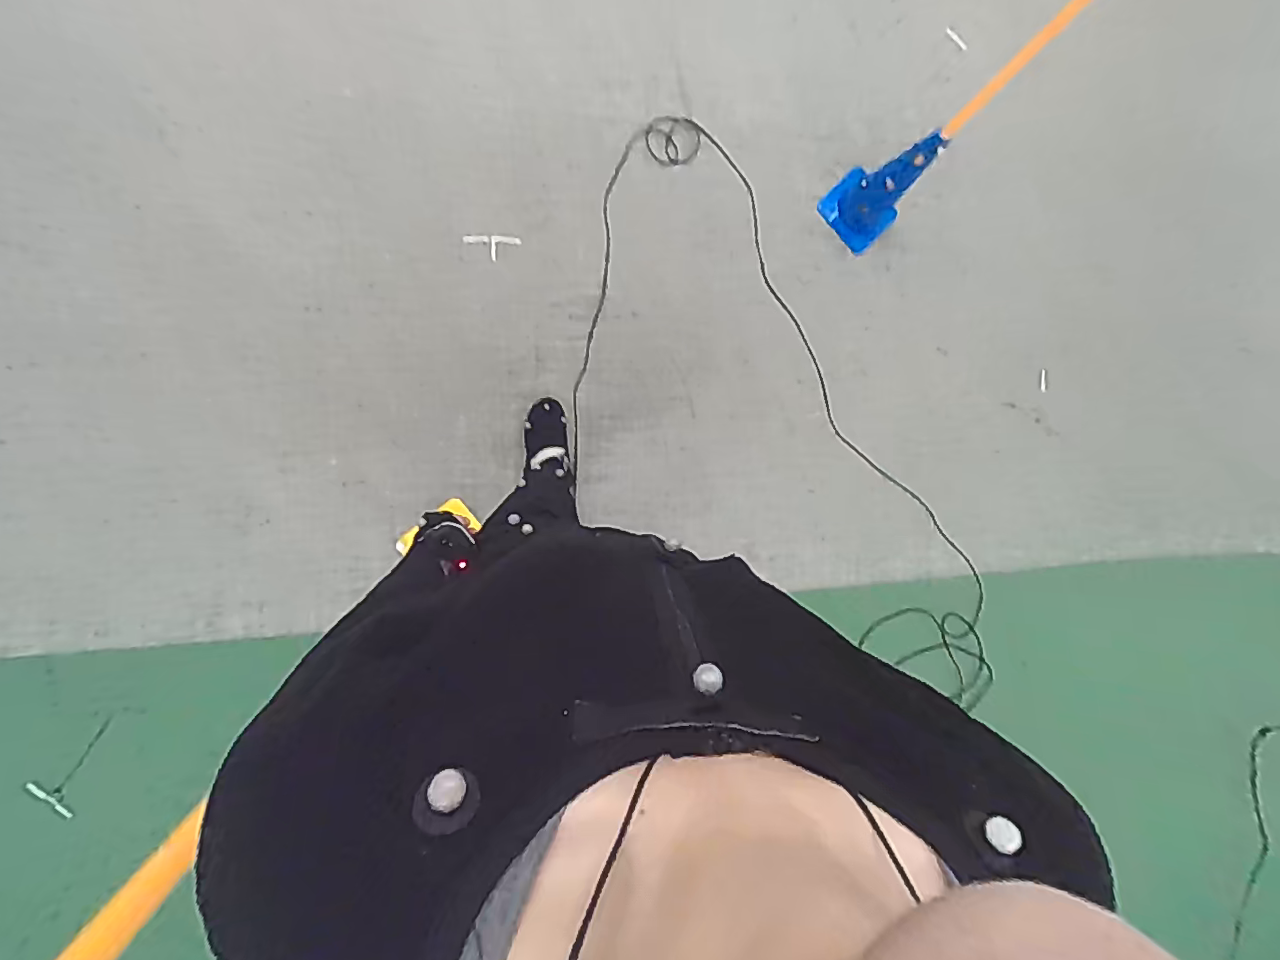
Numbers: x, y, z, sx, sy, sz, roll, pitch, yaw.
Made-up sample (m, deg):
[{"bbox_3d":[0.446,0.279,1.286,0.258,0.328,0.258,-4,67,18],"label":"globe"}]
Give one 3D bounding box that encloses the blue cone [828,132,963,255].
[{"bbox_3d":[0.692,-0.791,1.435,0.192,0.380,0.193,44,81,-7],"label":"blue cone"}]
